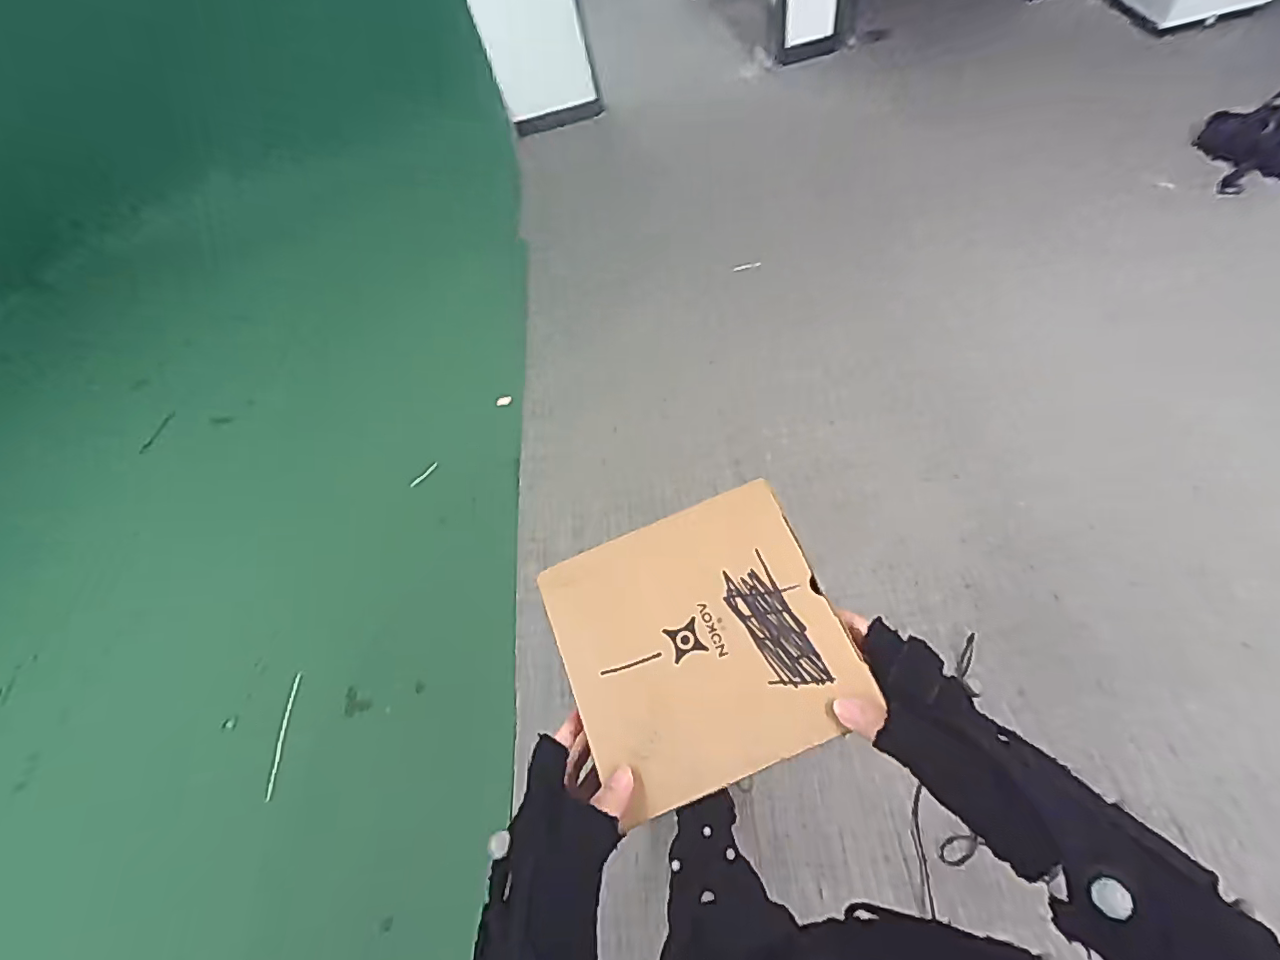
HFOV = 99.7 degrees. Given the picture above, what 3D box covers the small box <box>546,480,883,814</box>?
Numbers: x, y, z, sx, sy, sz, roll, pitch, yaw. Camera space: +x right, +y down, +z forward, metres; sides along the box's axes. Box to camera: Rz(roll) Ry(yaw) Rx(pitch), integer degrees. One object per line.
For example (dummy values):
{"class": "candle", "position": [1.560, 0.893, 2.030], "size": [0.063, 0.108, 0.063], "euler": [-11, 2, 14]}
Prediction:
{"class": "small box", "position": [0.049, 0.128, 0.425], "size": [0.179, 0.176, 0.168], "euler": [-22, 66, -1]}
